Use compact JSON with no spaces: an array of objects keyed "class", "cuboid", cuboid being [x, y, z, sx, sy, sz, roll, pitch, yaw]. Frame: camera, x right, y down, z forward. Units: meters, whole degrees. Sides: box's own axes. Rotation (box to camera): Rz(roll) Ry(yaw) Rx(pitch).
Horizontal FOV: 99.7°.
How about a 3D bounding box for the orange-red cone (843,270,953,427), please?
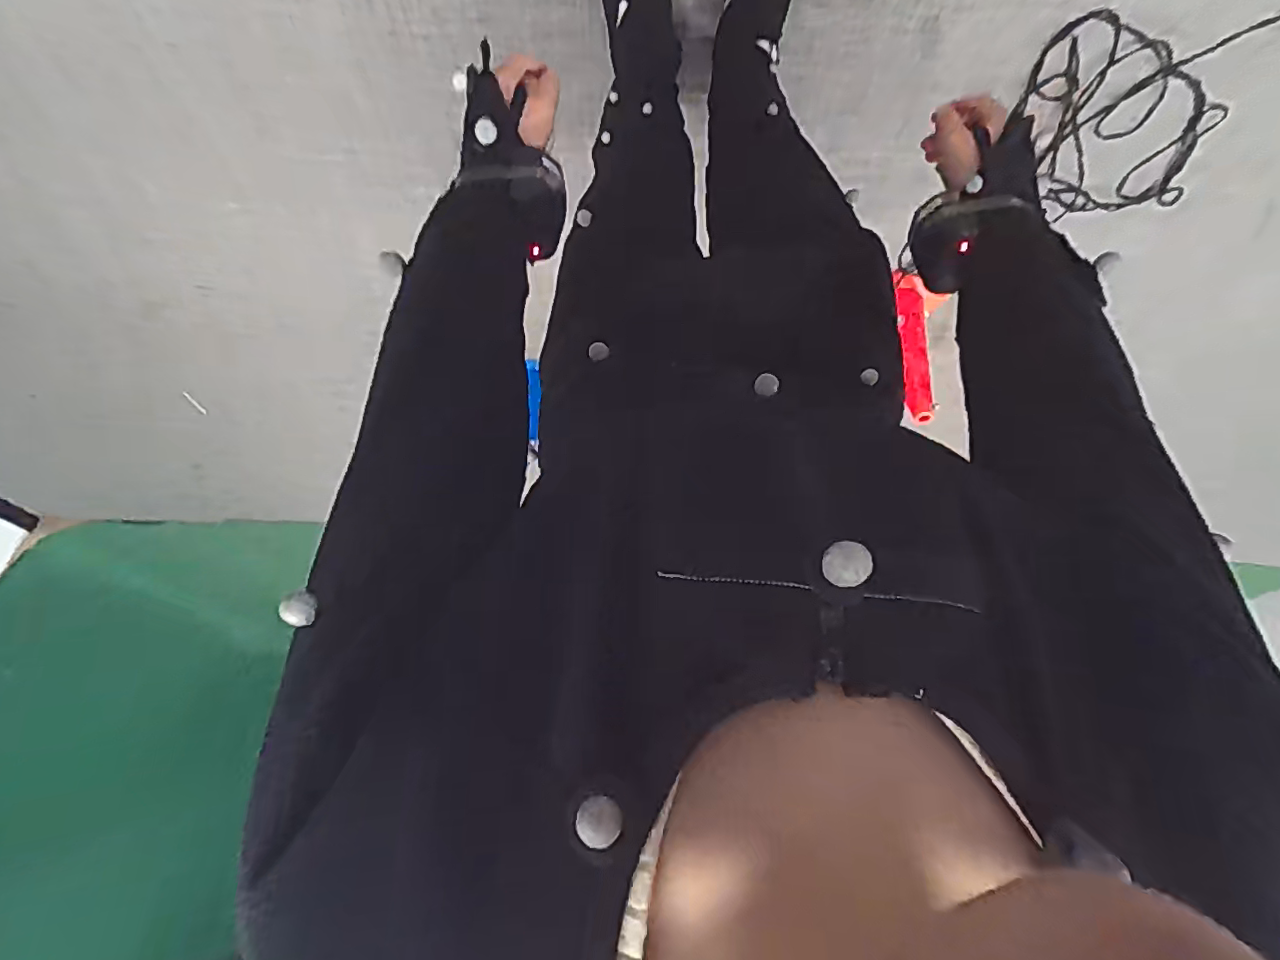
[{"class":"orange-red cone","cuboid":[0.630,-0.276,1.252,0.199,0.360,0.198,13,148,-17]}]
